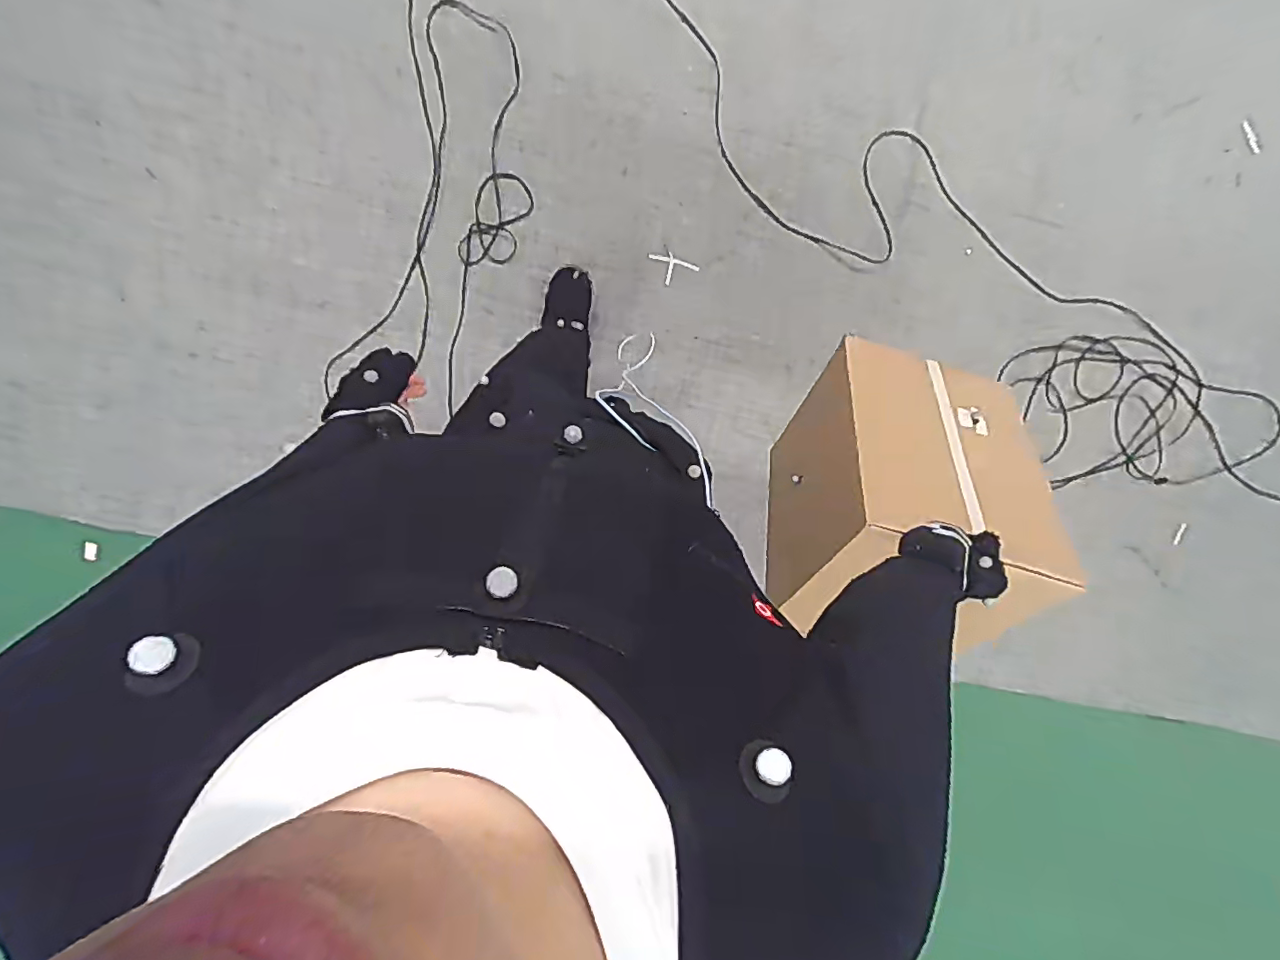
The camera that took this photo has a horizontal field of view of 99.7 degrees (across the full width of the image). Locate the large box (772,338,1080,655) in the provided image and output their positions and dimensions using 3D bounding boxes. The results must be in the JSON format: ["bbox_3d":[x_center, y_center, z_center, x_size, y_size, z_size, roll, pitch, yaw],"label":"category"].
[{"bbox_3d":[0.432,0.032,0.935,0.320,0.408,0.320,17,140,-4],"label":"large box"}]
